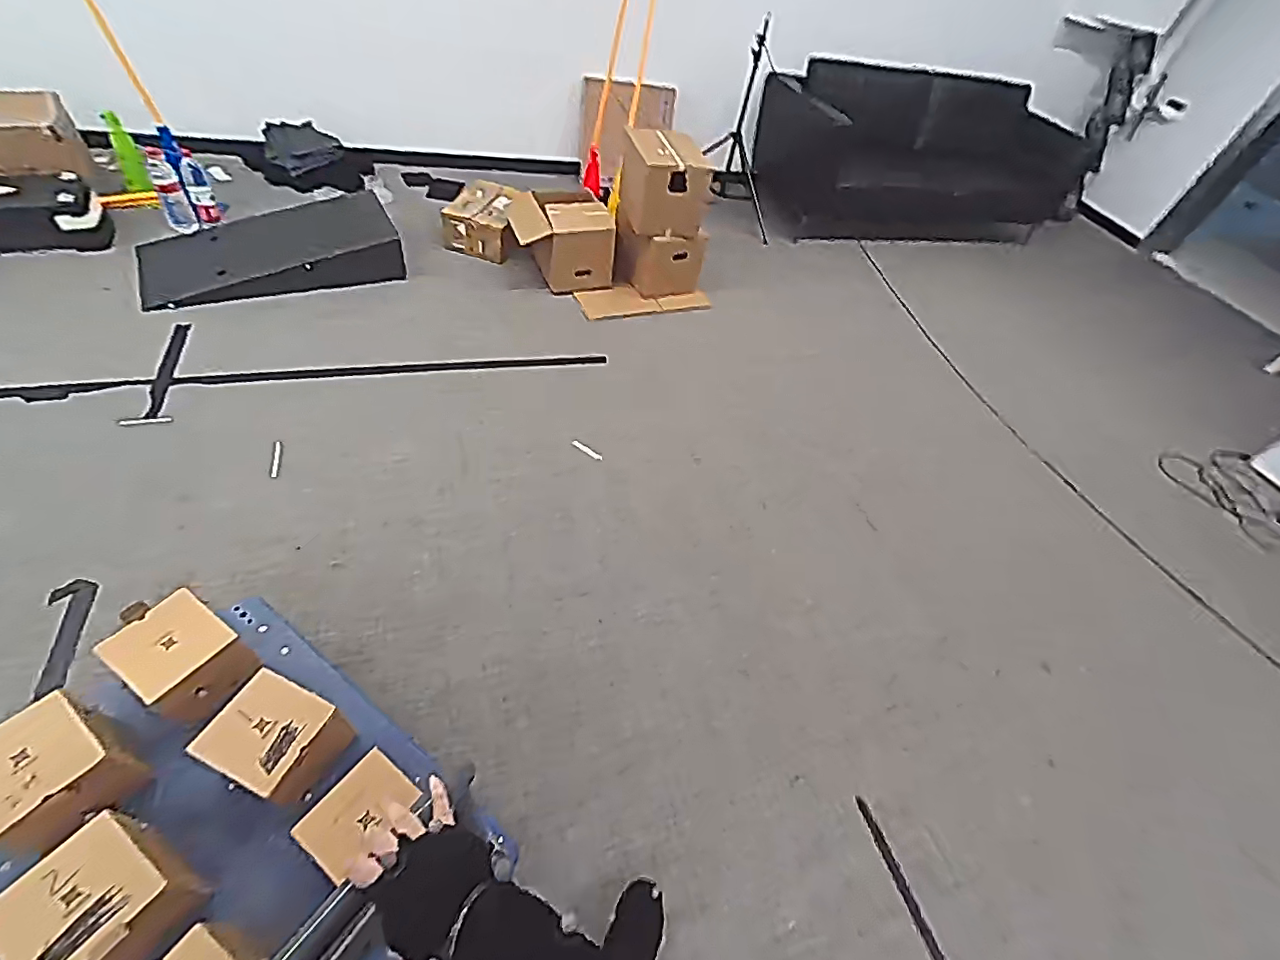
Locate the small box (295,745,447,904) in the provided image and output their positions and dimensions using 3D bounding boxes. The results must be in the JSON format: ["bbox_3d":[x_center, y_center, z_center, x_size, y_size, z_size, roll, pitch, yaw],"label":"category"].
[{"bbox_3d":[-0.472,0.623,0.979,0.179,0.176,0.168,34,50,15],"label":"small box"}]

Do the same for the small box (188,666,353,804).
[{"bbox_3d":[-0.688,0.492,1.034,0.179,0.176,0.168,24,49,7],"label":"small box"}]

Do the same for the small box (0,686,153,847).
[{"bbox_3d":[-1.017,0.503,0.941,0.179,0.176,0.168,36,52,15],"label":"small box"}]

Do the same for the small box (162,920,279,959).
[{"bbox_3d":[-0.636,0.790,0.794,0.179,0.176,0.168,31,49,12],"label":"small box"}]

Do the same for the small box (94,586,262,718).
[{"bbox_3d":[-0.916,0.355,1.093,0.179,0.176,0.168,31,51,12],"label":"small box"}]
